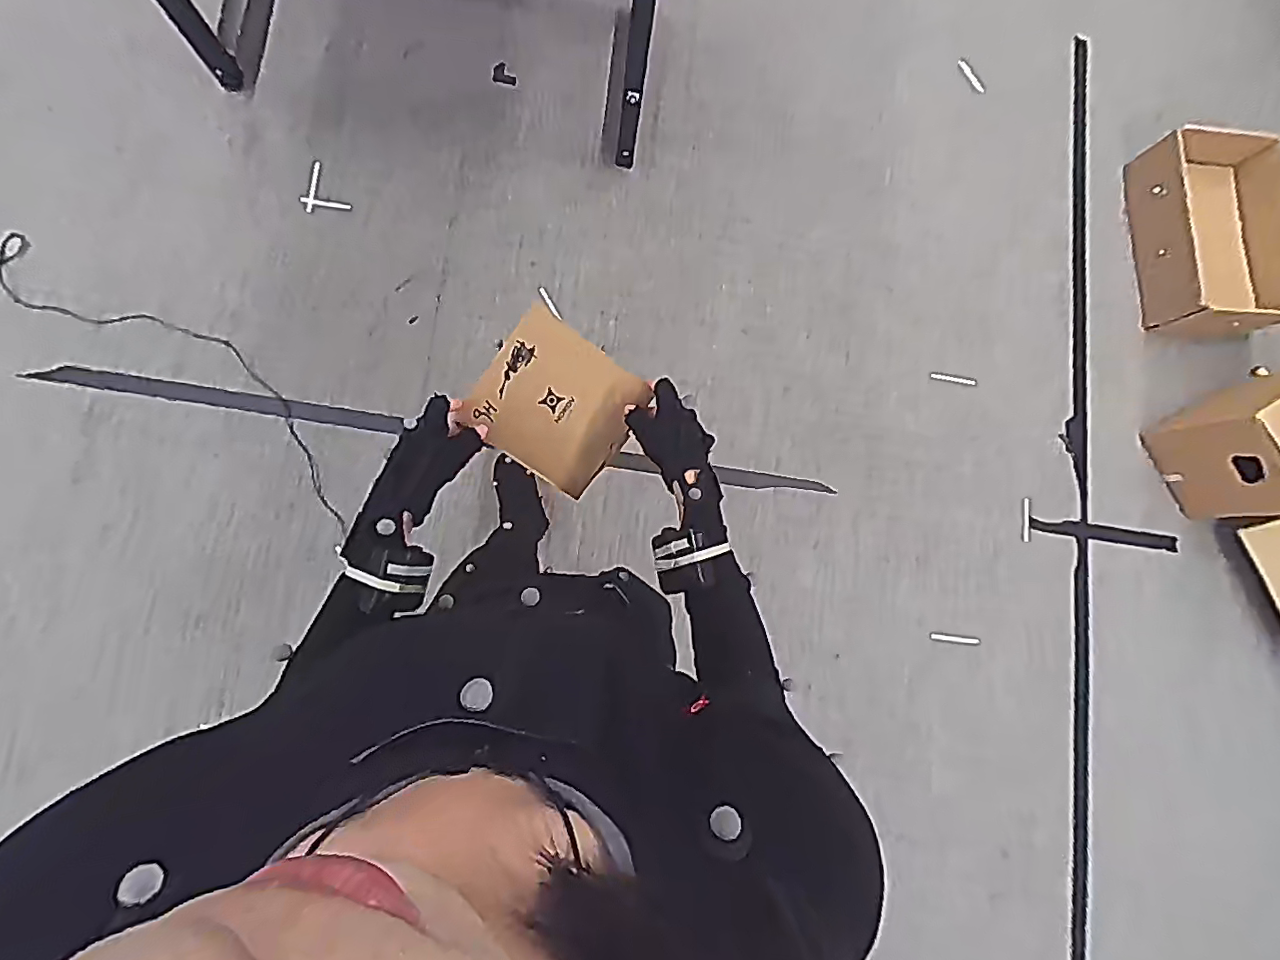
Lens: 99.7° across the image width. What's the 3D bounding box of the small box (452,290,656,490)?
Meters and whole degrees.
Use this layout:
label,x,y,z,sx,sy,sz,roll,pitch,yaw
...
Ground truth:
label,x,y,z,sx,sy,sz,roll,pitch,yaw
small box,-0.107,-0.119,0.691,0.179,0.176,0.168,36,96,-17
